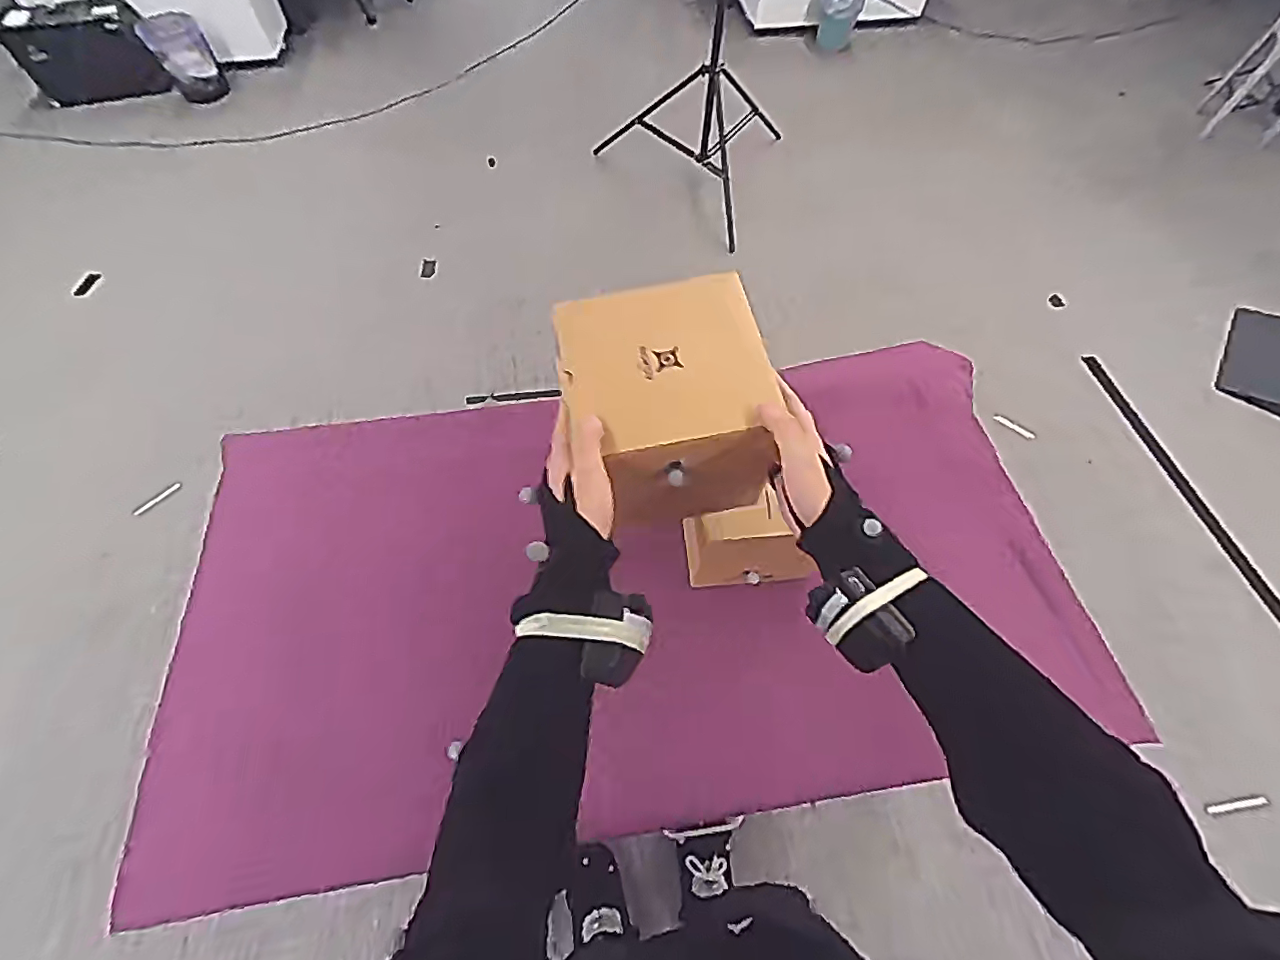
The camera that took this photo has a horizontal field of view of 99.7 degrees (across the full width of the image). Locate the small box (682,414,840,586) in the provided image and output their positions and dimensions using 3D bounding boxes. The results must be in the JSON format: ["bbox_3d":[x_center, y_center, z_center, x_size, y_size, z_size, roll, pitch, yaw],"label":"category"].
[{"bbox_3d":[0.146,0.031,0.735,0.168,0.176,0.179,-4,61,-2],"label":"small box"}]

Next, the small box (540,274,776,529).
[{"bbox_3d":[0.012,-0.066,0.527,0.179,0.176,0.168,-11,65,-1],"label":"small box"}]
